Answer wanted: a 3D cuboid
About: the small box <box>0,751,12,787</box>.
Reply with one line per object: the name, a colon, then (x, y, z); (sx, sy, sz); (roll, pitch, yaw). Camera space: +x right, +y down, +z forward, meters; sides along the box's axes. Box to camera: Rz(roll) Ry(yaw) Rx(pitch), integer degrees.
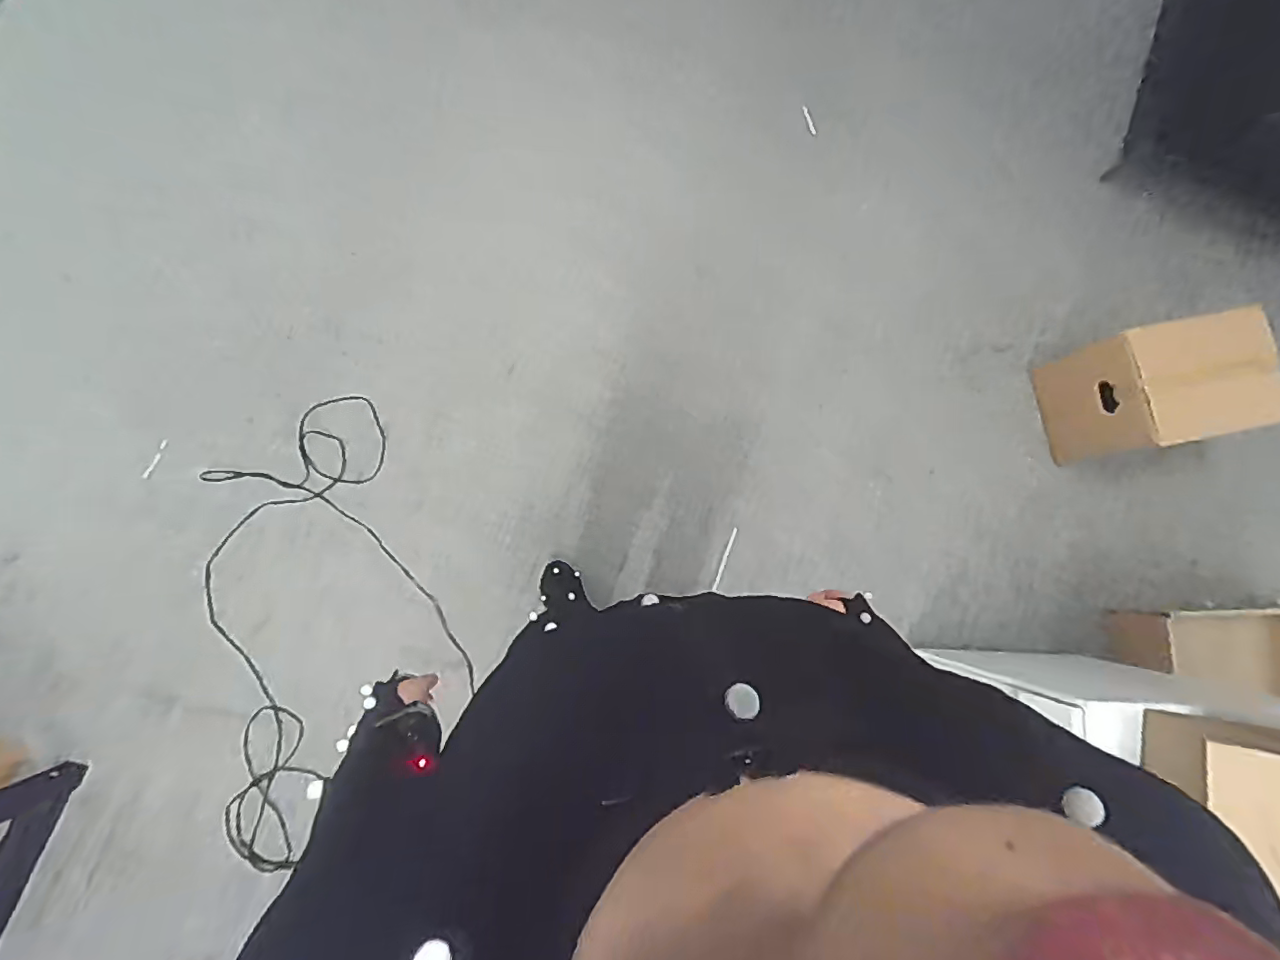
small box: (-1.591, 0.693, 1.203); (0.168, 0.176, 0.179); (26, 81, -2)
